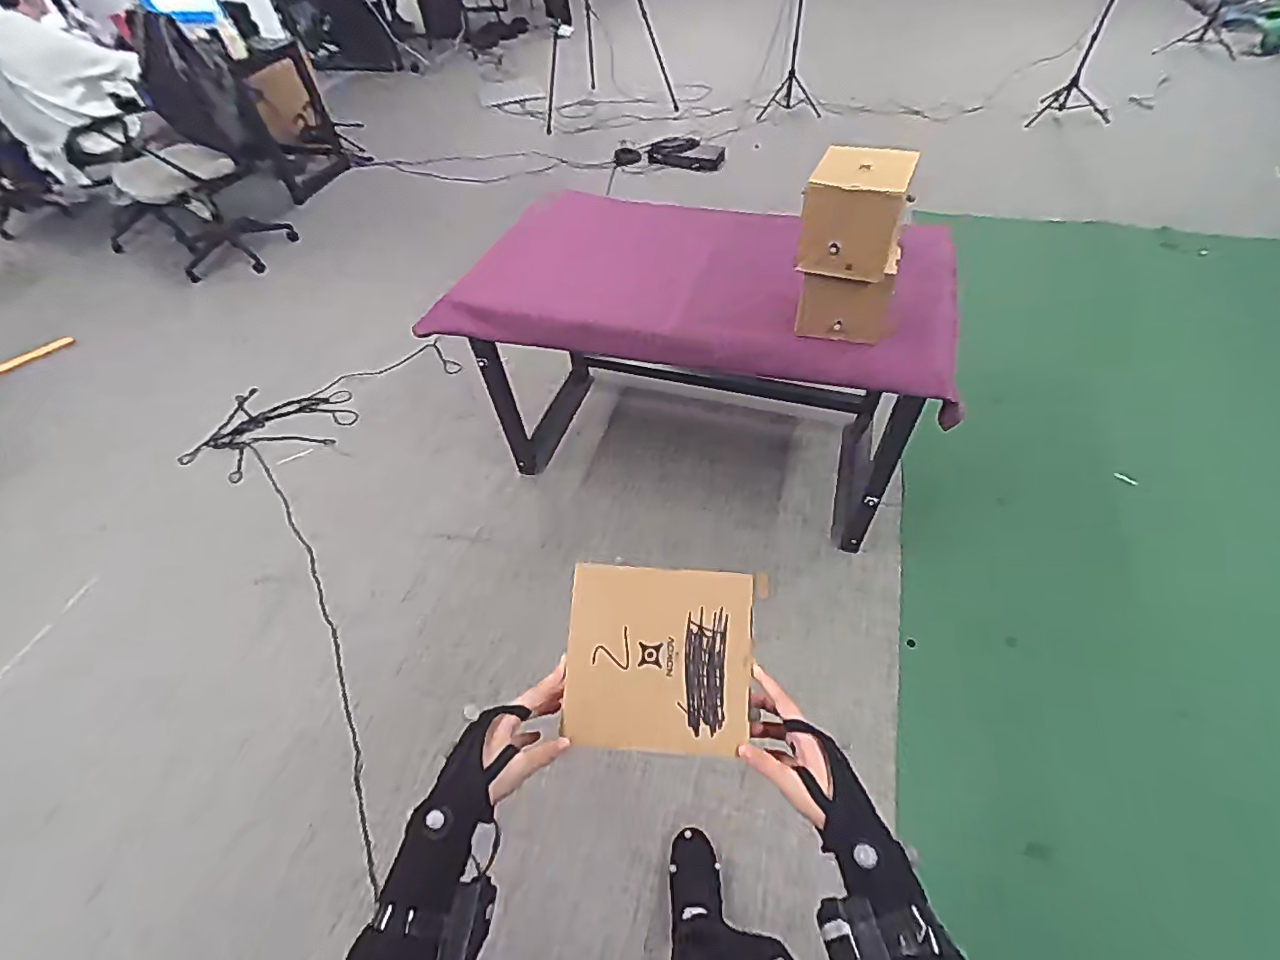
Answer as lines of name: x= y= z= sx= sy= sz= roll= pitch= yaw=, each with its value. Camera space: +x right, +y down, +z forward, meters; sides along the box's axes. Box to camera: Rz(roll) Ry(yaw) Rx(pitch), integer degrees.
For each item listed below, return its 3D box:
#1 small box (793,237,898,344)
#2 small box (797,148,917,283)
small box: x=0.442 y=-0.414 z=1.170 sx=0.179 sy=0.176 sz=0.168 roll=11 pitch=51 yaw=15
small box: x=0.409 y=-0.507 z=1.038 sx=0.168 sy=0.176 sz=0.179 roll=17 pitch=55 yaw=20
